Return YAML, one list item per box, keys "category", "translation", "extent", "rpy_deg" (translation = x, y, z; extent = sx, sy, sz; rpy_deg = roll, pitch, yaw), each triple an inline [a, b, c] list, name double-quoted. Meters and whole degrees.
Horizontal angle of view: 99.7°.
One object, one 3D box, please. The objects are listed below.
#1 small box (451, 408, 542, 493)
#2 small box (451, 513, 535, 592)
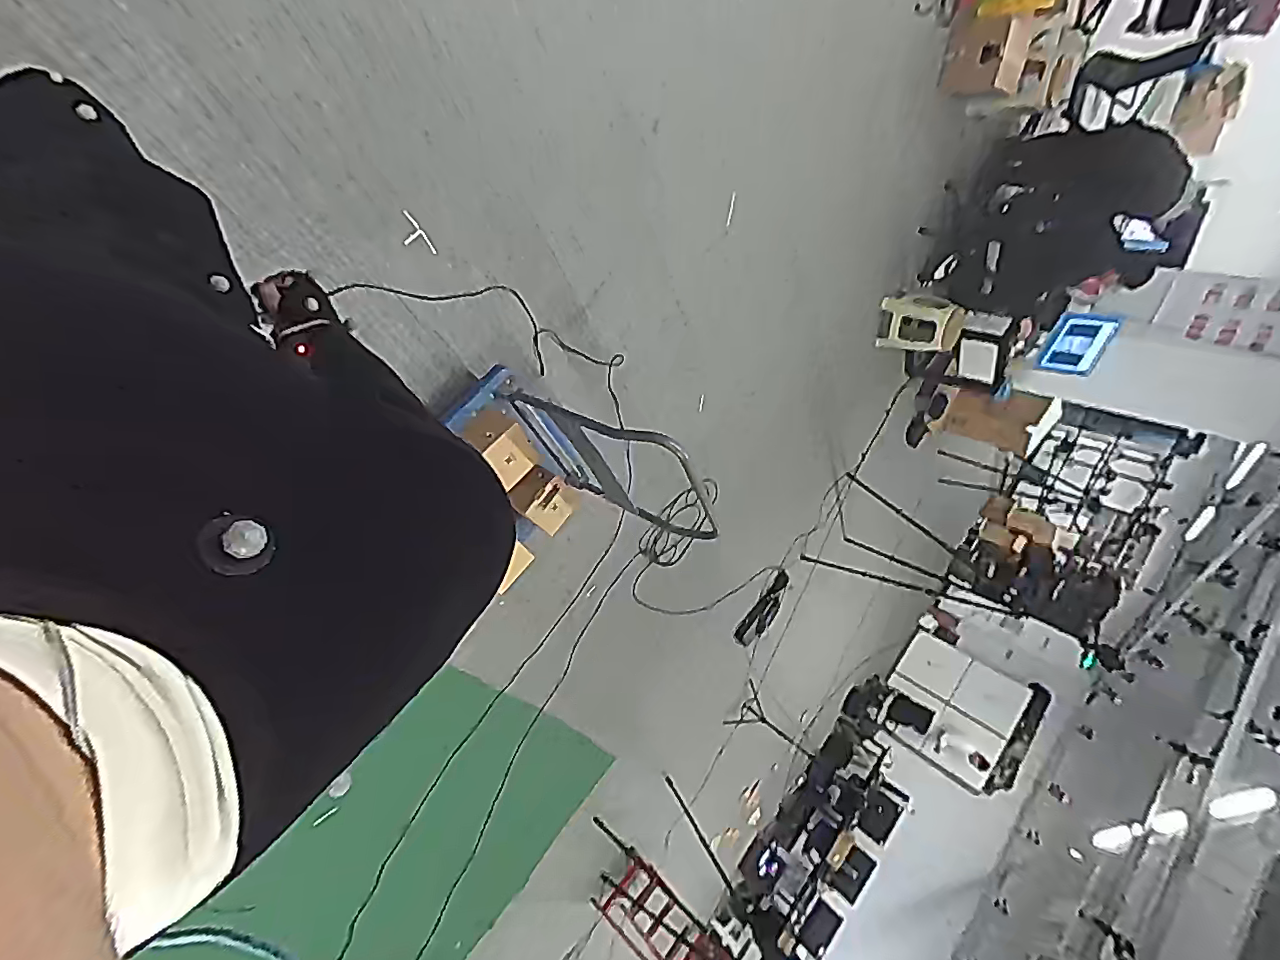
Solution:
- category: "small box"
  translation: [-0.444, -0.097, 1.666]
  extent: [0.179, 0.176, 0.168]
  rpy_deg: [-48, 139, -17]
- category: "small box"
  translation: [-0.493, 0.237, 1.809]
  extent: [0.168, 0.176, 0.179]
  rpy_deg: [-50, 139, -16]
